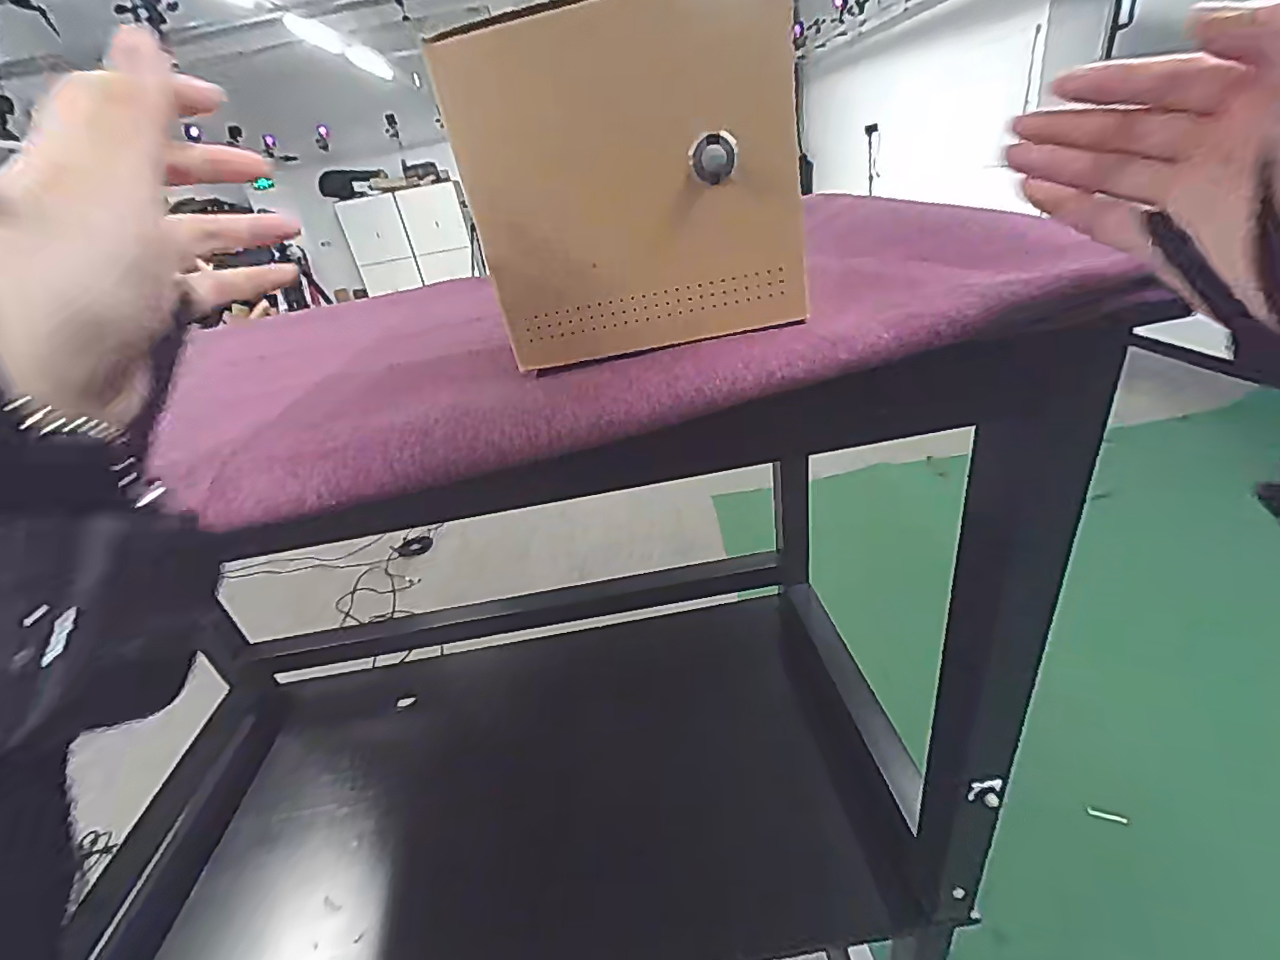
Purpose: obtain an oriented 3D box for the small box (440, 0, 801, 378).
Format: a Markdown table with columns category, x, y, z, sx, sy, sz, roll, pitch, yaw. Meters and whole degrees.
| category | x | y | z | sx | sy | sz | roll | pitch | yaw |
| --- | --- | --- | --- | --- | --- | --- | --- | --- | --- |
| small box | 0.004 | -0.181 | 0.360 | 0.179 | 0.176 | 0.168 | -10 | 26 | 6 |
